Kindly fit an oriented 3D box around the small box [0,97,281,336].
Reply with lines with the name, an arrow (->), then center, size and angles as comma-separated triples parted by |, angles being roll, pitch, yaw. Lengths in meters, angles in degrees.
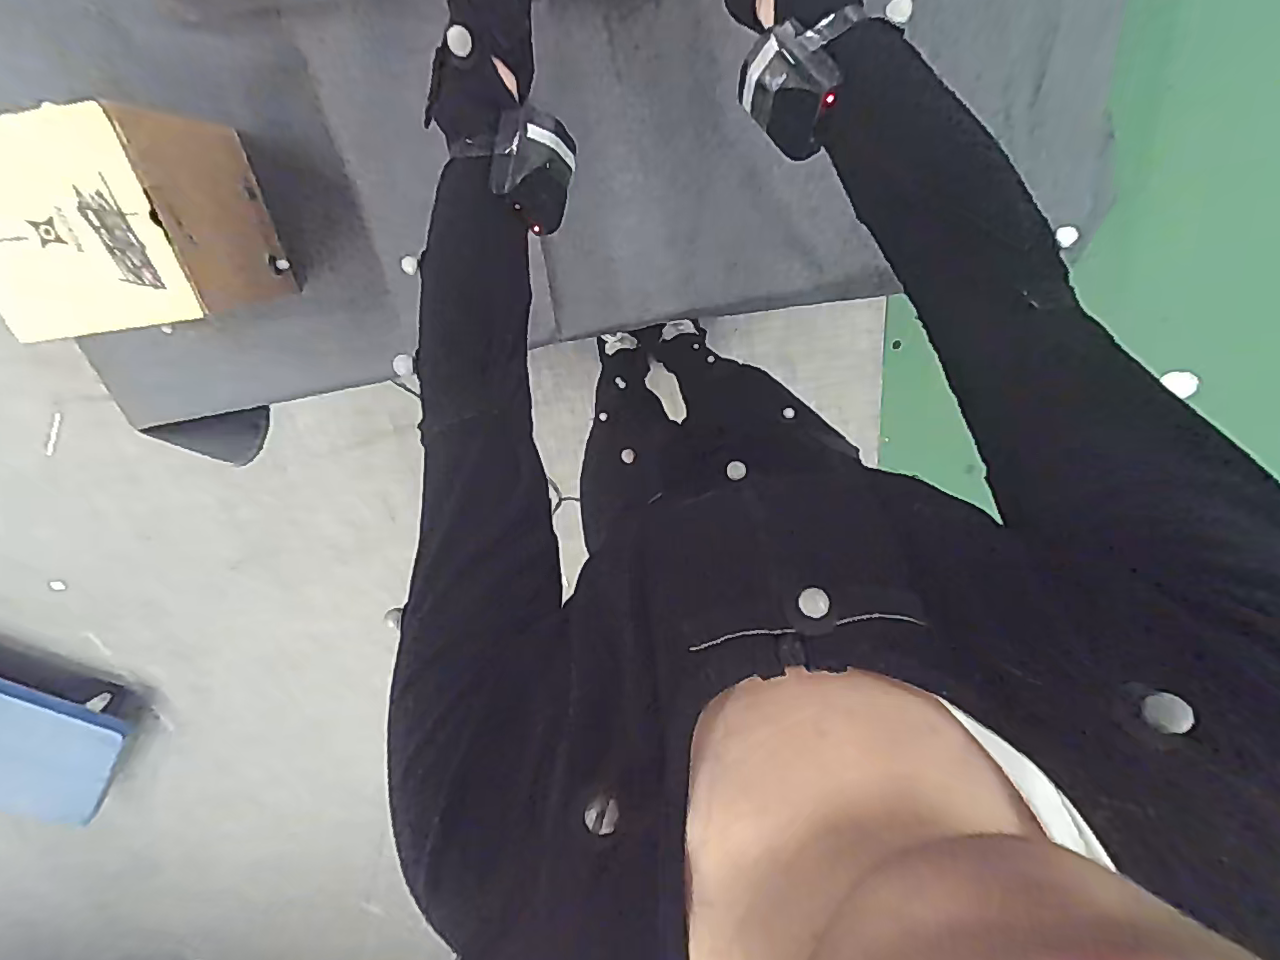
small box -> -0.487, -0.247, 0.519 | 0.179, 0.176, 0.168 | -8, 117, 1
